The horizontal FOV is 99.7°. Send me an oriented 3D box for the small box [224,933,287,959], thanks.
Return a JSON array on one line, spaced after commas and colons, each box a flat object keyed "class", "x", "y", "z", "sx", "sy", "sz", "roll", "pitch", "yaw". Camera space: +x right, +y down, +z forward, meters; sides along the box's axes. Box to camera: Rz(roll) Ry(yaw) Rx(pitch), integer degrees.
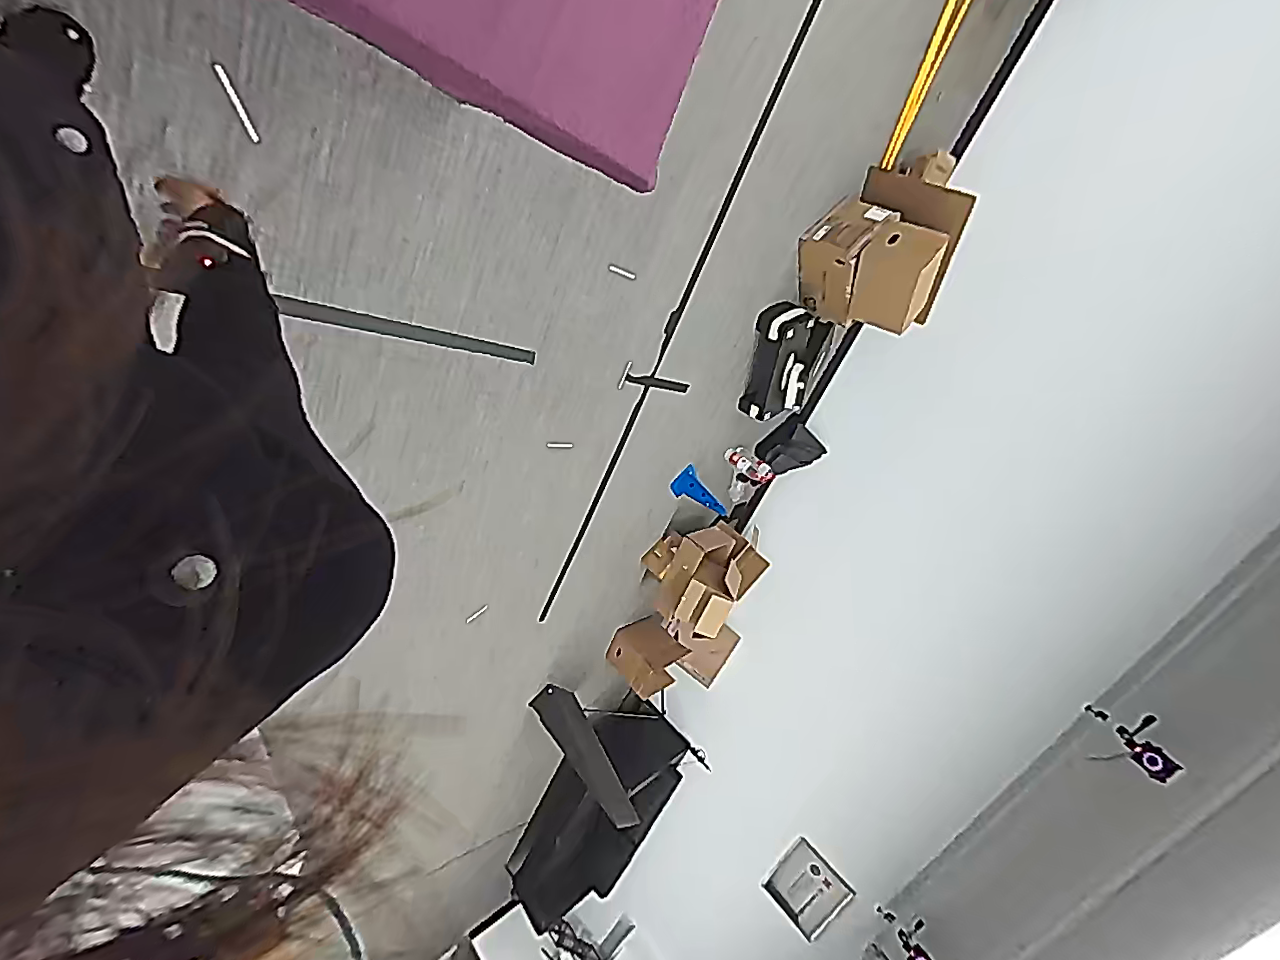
[{"class": "small box", "x": -1.155, "y": 1.508, "z": 1.599, "sx": 0.168, "sy": 0.176, "sz": 0.179, "roll": 1, "pitch": 123, "yaw": -54}]
